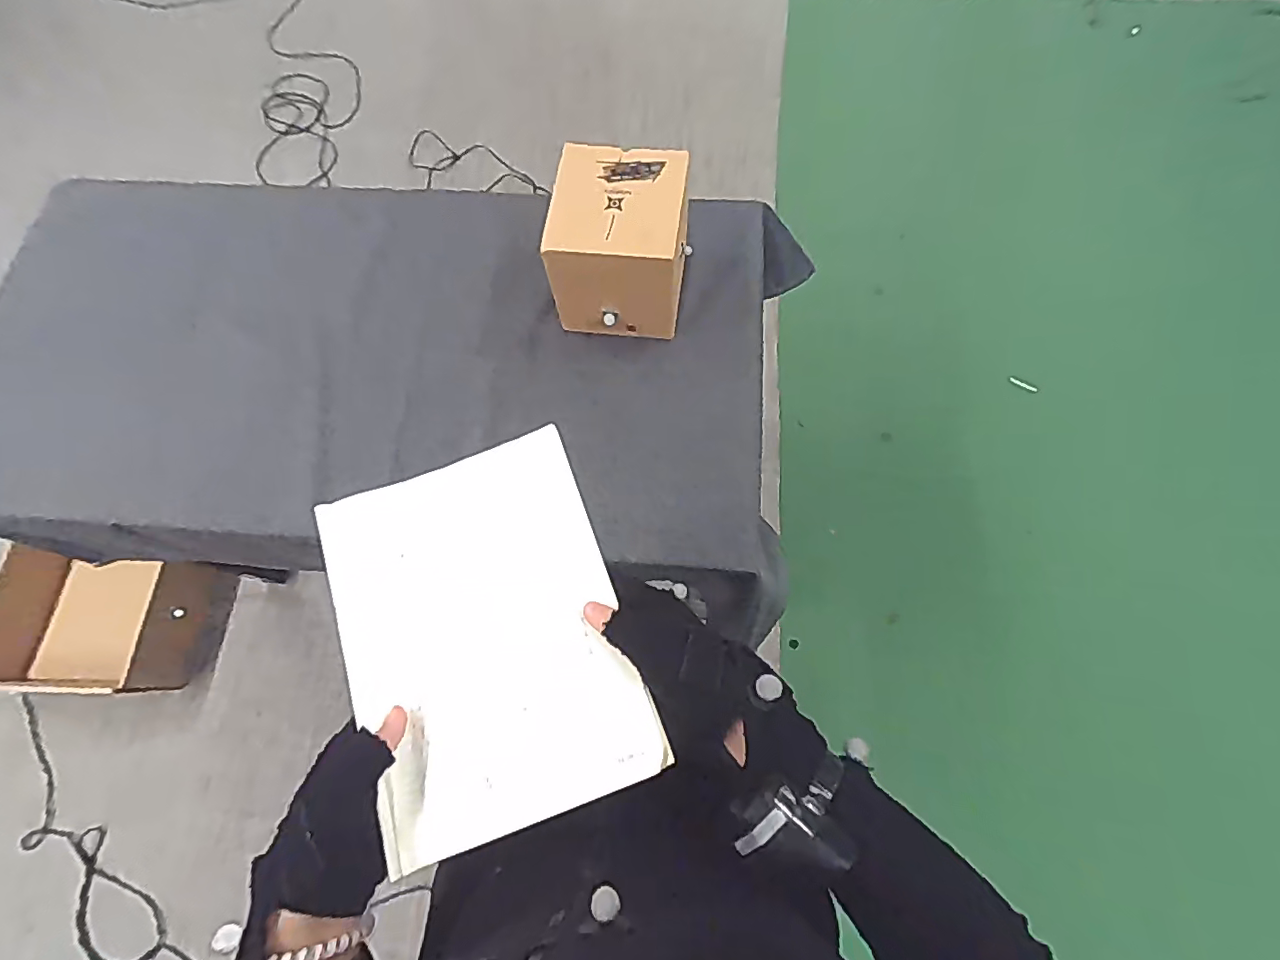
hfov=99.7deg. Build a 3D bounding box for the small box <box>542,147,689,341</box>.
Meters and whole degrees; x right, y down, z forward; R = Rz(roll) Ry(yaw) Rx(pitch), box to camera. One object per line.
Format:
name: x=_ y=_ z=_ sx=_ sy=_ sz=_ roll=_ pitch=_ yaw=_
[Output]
small box: x=-0.025 y=-0.320 z=0.750 sx=0.168 sy=0.176 sz=0.179 roll=6 pitch=71 yaw=5
